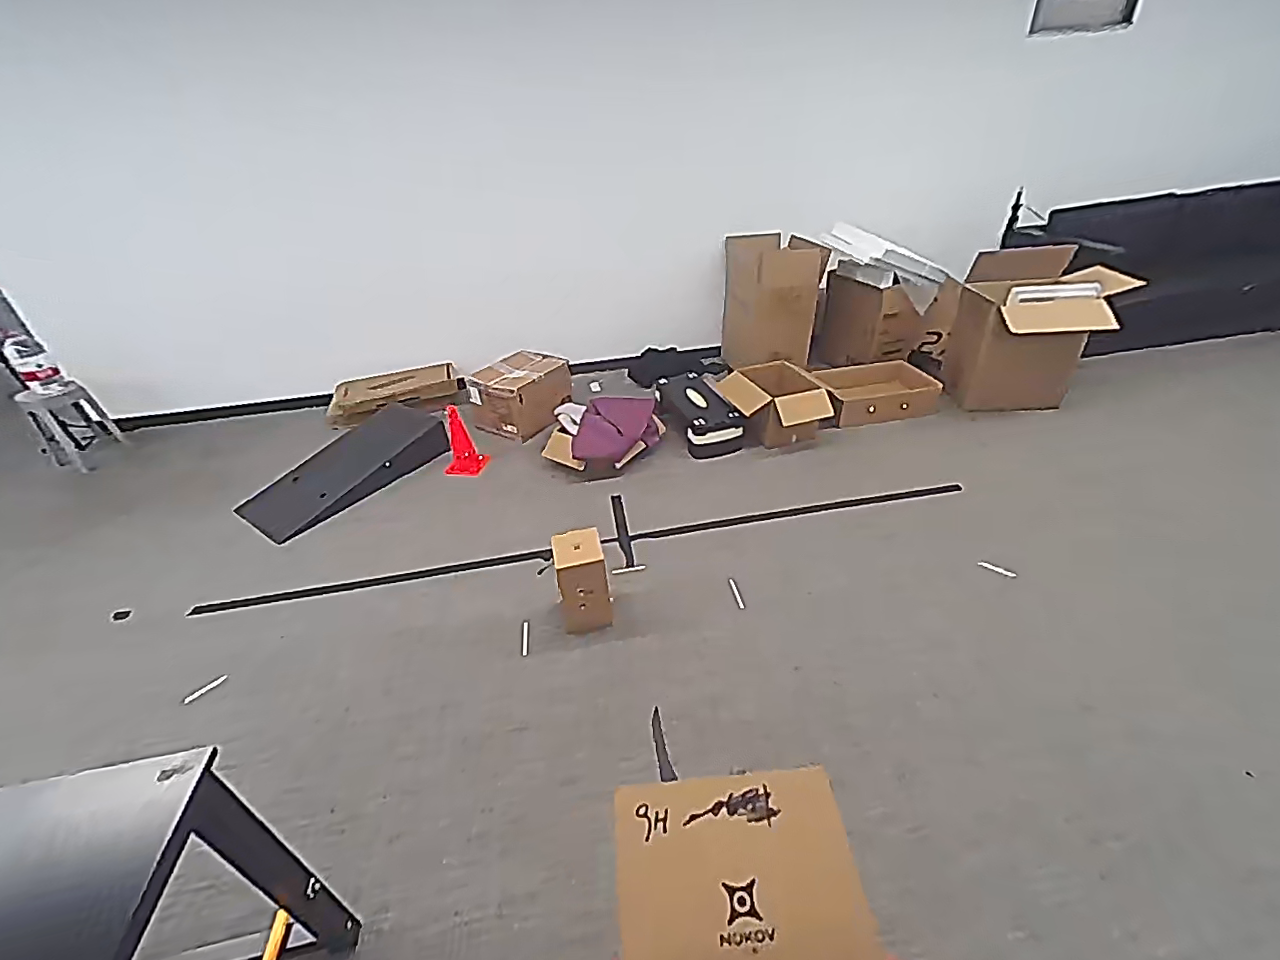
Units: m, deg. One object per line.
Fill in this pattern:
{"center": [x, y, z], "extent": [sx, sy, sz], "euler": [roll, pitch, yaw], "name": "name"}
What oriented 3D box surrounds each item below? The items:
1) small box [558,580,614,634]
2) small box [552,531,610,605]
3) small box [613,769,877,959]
{"center": [-0.199, 0.441, 1.981], "extent": [0.179, 0.176, 0.168], "euler": [-9, 34, -7], "name": "small box"}
{"center": [-0.206, 0.307, 1.889], "extent": [0.168, 0.176, 0.179], "euler": [-12, 36, -8], "name": "small box"}
{"center": [0.071, 0.347, 0.408], "extent": [0.168, 0.176, 0.179], "euler": [-5, 42, -1], "name": "small box"}
